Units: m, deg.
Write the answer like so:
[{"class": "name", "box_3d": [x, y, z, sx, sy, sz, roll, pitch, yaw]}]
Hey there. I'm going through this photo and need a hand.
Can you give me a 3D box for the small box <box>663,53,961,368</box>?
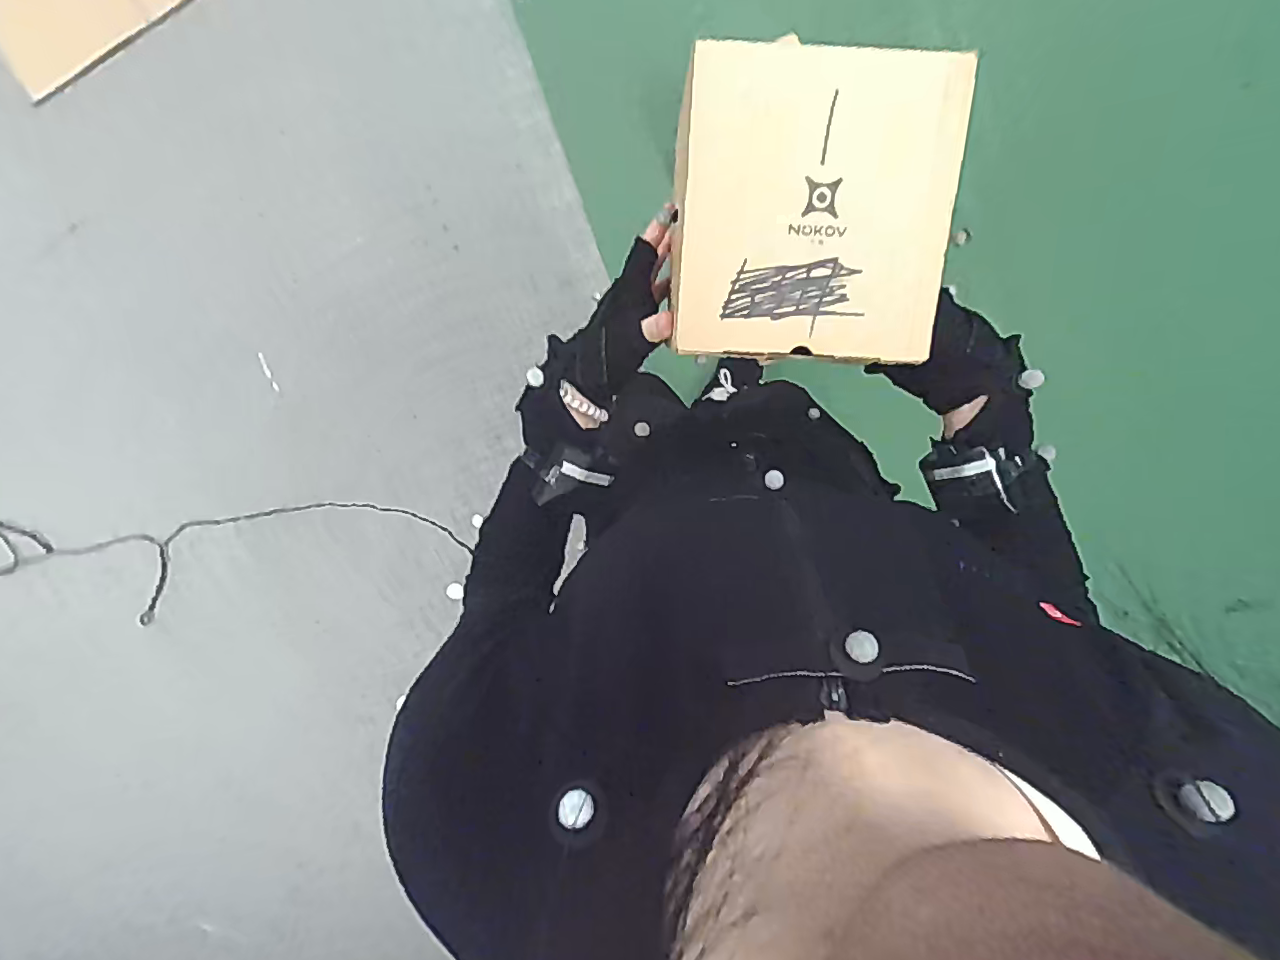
[{"class": "small box", "box_3d": [0.104, -0.181, 0.412, 0.168, 0.176, 0.179, 2, 103, 0]}]
